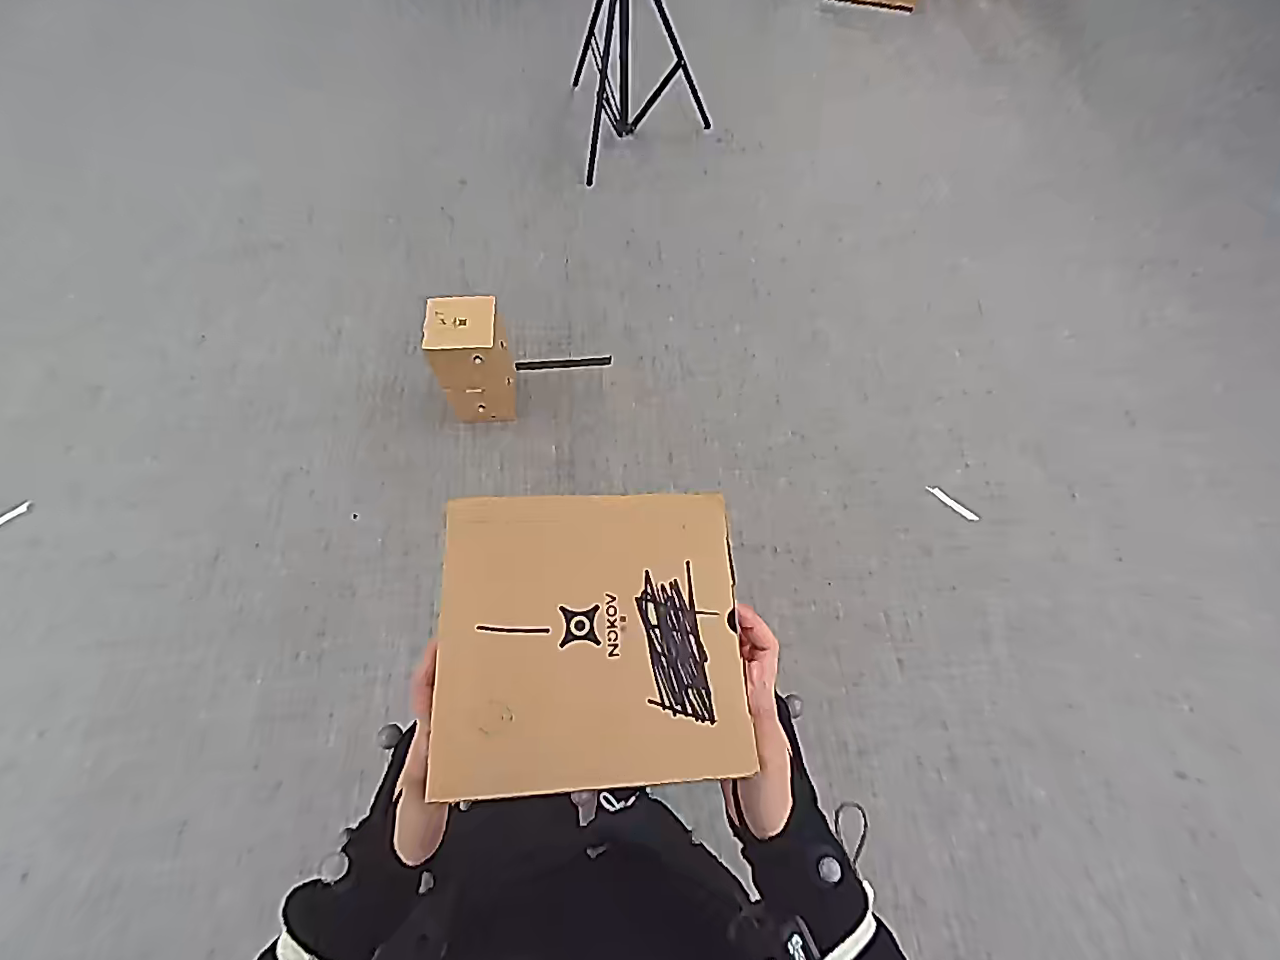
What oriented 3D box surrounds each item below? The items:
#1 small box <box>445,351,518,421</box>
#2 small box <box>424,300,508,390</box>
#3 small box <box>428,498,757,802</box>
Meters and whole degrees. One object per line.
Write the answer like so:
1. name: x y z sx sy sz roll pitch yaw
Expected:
1. small box: -0.456 -0.282 1.580 0.168 0.176 0.179 -2 67 -3
2. small box: -0.450 -0.352 1.430 0.179 0.176 0.168 -3 65 -3
3. small box: -0.035 0.118 0.386 0.179 0.176 0.168 -1 66 -7
